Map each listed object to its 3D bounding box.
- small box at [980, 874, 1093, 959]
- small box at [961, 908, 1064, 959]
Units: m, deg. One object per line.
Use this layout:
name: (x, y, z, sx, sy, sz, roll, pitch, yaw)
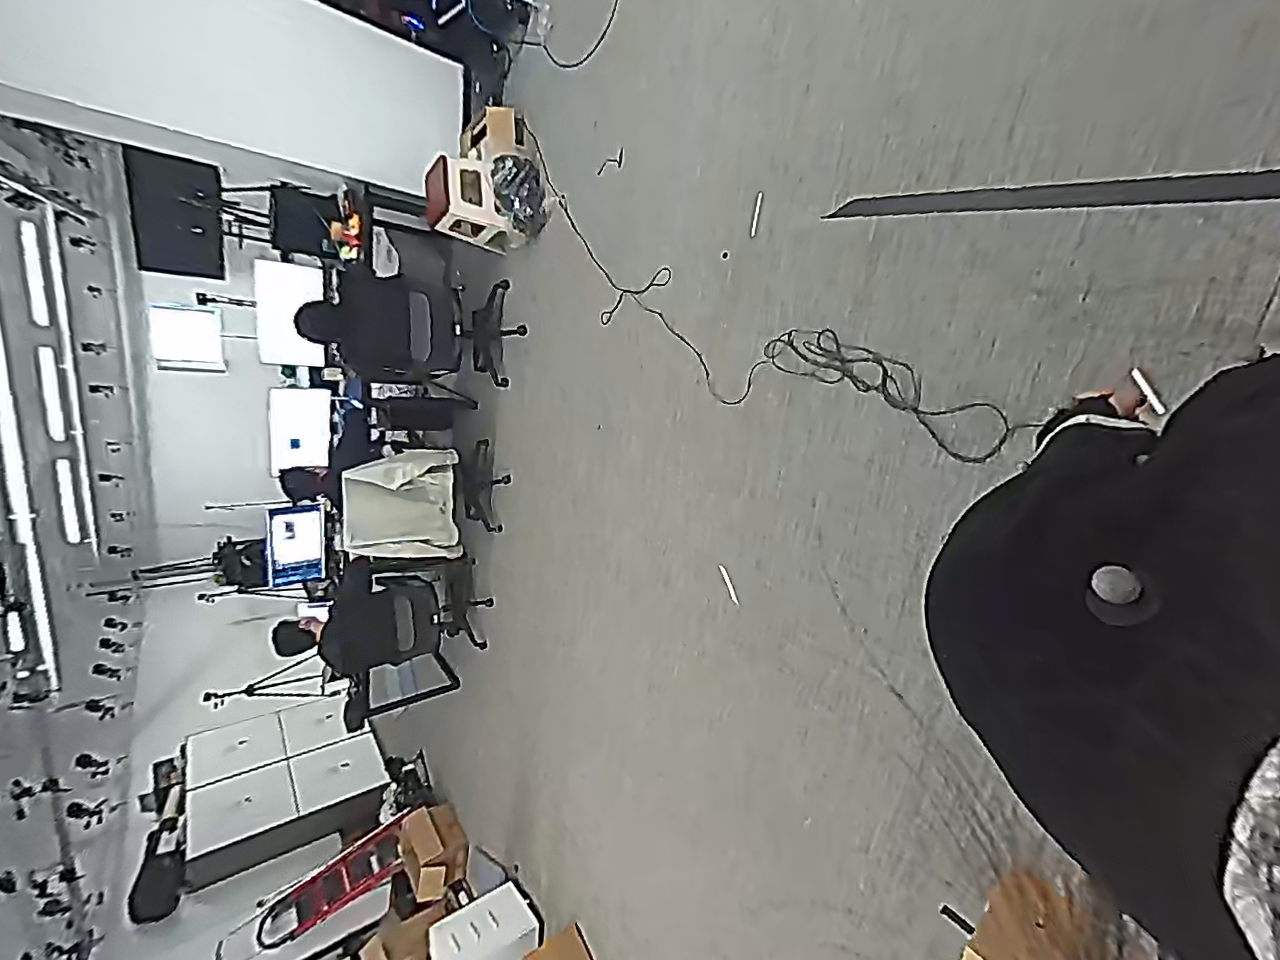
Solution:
small box: (0.929, 1.084, 1.280, 0.179, 0.176, 0.168, 19, 108, 48)
small box: (0.807, 1.093, 1.169, 0.179, 0.176, 0.168, 23, 110, 47)
